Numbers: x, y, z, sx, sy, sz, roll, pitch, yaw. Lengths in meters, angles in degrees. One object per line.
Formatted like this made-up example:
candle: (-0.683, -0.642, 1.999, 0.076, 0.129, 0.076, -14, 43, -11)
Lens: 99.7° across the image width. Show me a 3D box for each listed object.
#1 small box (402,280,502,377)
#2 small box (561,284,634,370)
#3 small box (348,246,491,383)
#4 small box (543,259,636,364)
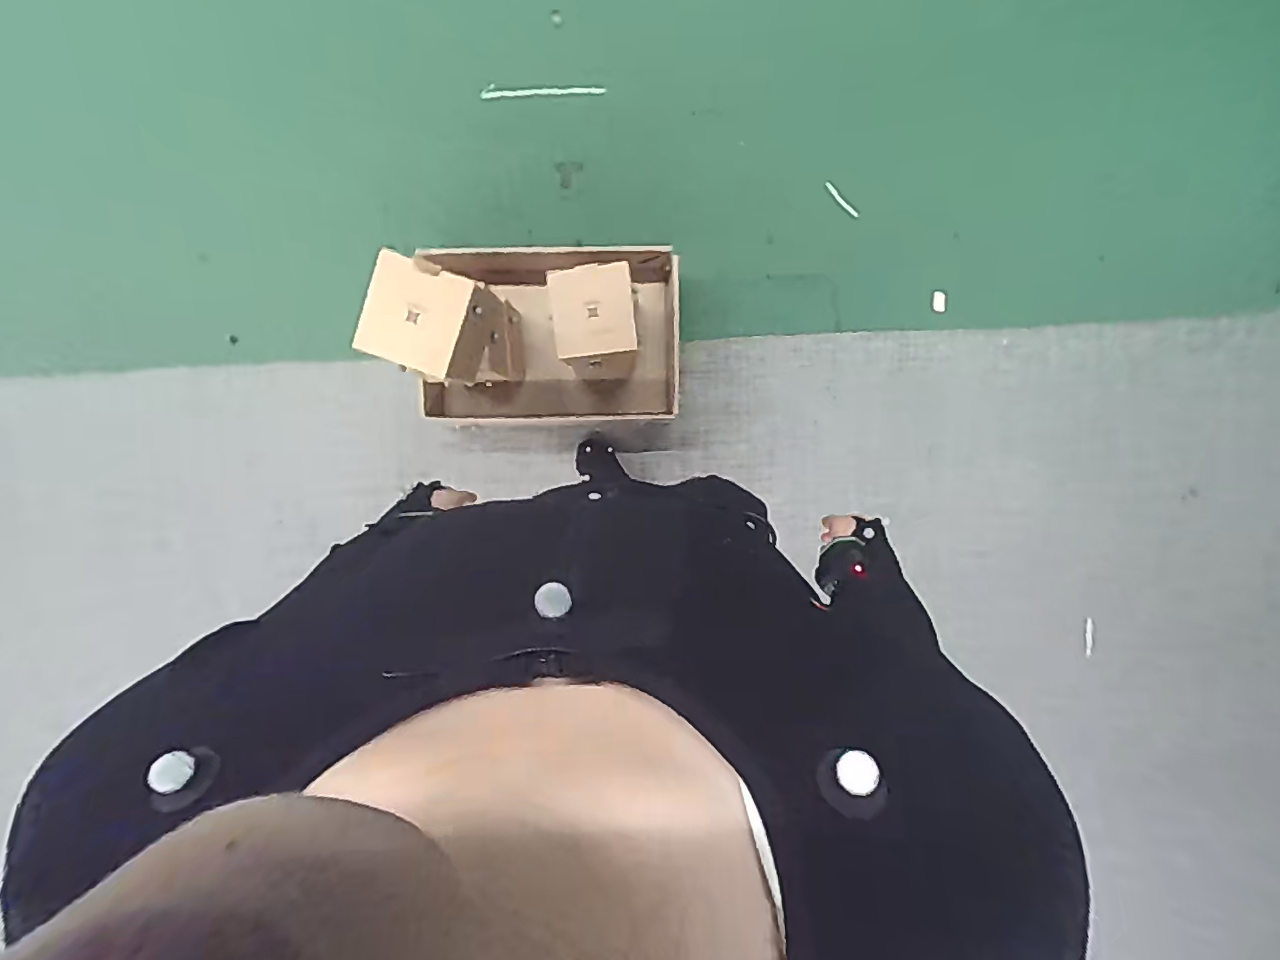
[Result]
small box: (-0.392, -0.308, 1.138, 0.168, 0.176, 0.179, -3, 95, -2)
small box: (-0.101, -0.367, 1.306, 0.168, 0.176, 0.179, 2, 96, 0)
small box: (-0.385, -0.285, 0.977, 0.168, 0.176, 0.179, 19, 94, -4)
small box: (-0.100, -0.348, 1.143, 0.168, 0.176, 0.179, -7, 98, 2)
